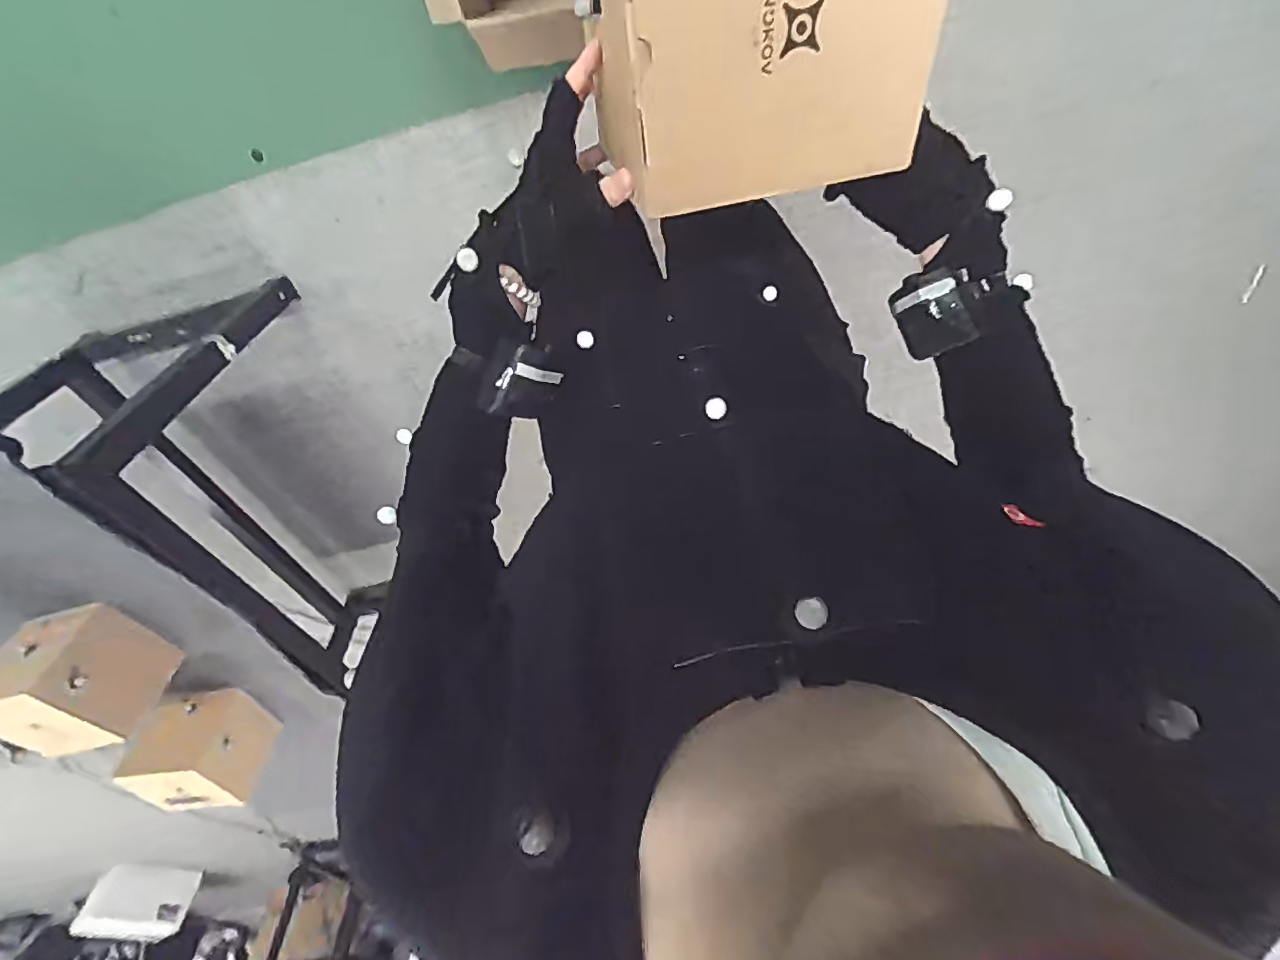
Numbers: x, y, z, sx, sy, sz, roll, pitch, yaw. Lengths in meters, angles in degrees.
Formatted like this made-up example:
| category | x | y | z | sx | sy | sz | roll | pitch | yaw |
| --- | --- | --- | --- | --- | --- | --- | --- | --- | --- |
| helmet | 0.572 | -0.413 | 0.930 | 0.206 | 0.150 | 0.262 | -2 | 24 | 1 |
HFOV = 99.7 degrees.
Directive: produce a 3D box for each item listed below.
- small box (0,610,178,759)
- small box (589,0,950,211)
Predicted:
| category | x | y | z | sx | sy | sz | roll | pitch | yaw |
| --- | --- | --- | --- | --- | --- | --- | --- | --- | --- |
| small box | -0.949 | 0.334 | 0.903 | 0.168 | 0.176 | 0.179 | -14 | 131 | 8 |
| small box | 0.066 | -0.297 | 0.336 | 0.179 | 0.176 | 0.168 | -13 | 137 | -3 |
